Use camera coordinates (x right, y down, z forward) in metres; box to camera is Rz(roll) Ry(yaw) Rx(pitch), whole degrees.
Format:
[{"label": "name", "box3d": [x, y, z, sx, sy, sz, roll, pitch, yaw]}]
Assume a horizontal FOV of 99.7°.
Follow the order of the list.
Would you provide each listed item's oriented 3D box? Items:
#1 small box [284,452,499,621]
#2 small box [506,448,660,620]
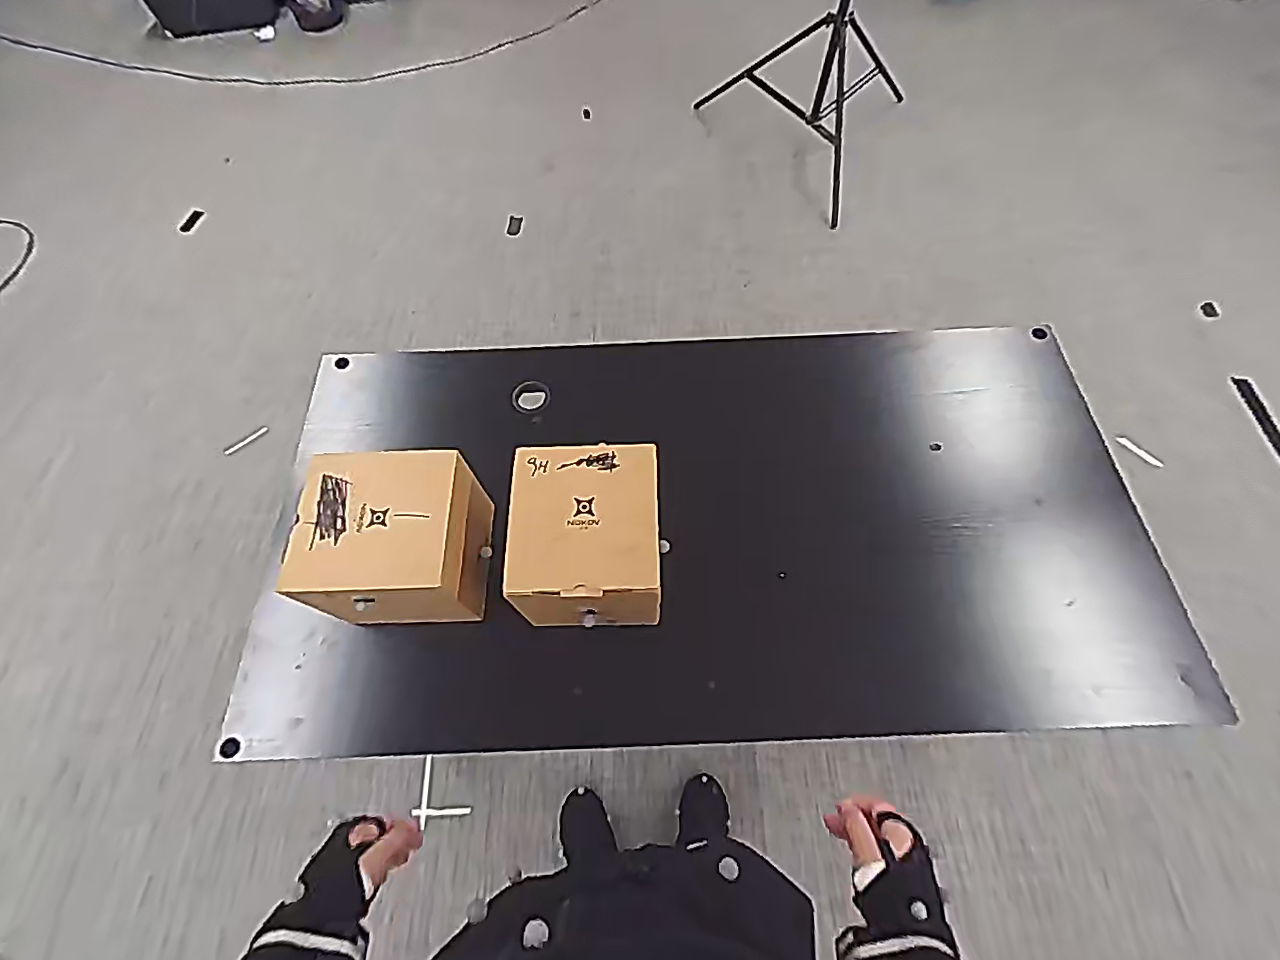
[{"label": "small box", "box3d": [-0.290, 0.078, 0.675, 0.179, 0.176, 0.168, -2, 65, 0]}, {"label": "small box", "box3d": [-0.058, 0.075, 0.670, 0.168, 0.176, 0.179, 0, 65, 0]}]
